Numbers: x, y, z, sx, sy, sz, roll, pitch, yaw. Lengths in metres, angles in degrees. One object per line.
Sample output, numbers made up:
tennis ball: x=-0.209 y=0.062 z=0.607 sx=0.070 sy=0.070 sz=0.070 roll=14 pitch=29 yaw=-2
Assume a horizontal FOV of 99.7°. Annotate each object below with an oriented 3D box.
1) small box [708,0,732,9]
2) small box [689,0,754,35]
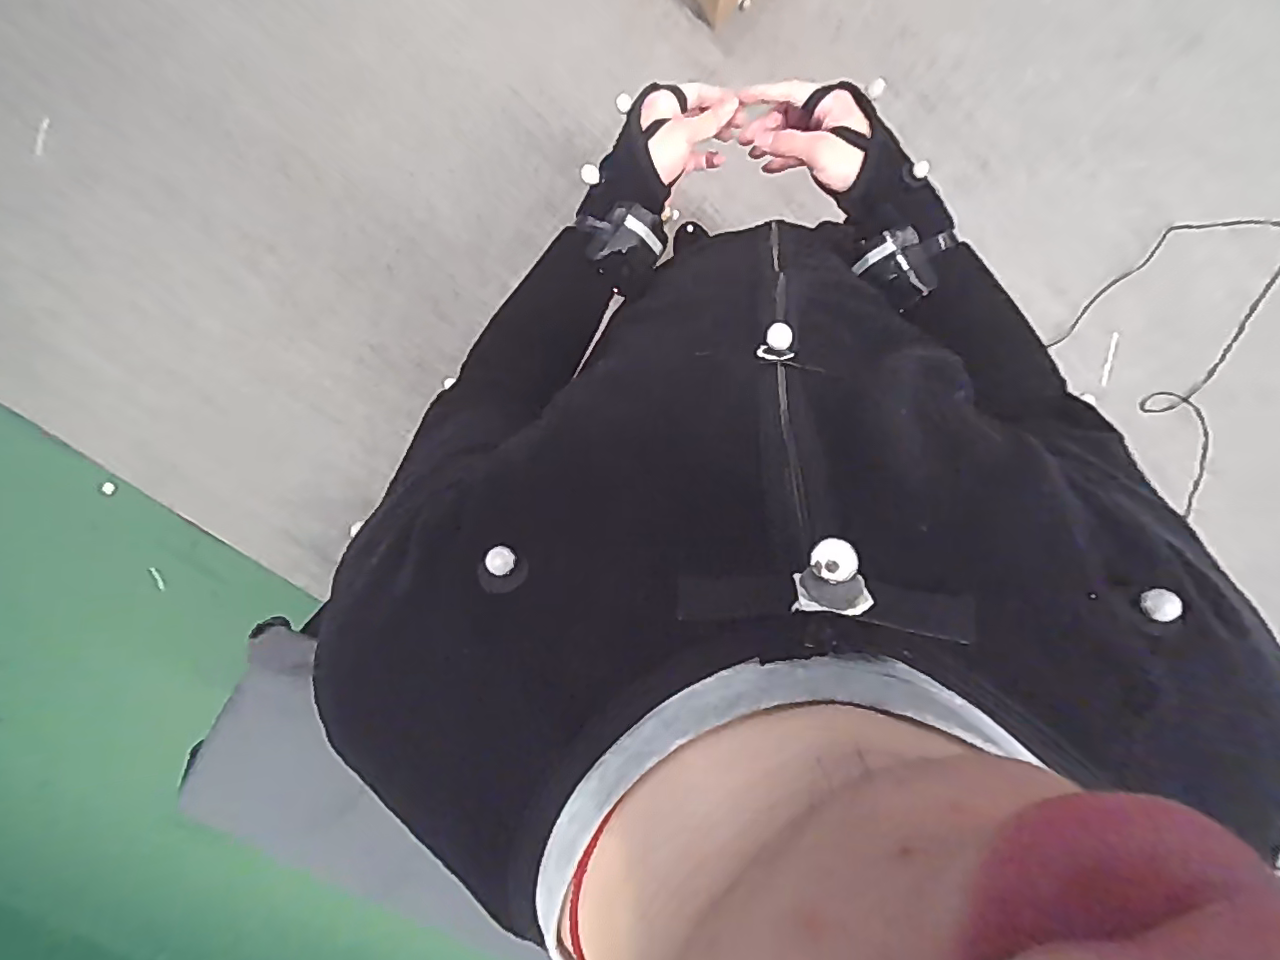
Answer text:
small box: x=0.153 y=-0.976 z=0.929 sx=0.168 sy=0.176 sz=0.179 roll=-34 pitch=109 yaw=20
small box: x=0.164 y=-1.047 z=1.077 sx=0.168 sy=0.176 sz=0.179 roll=-36 pitch=109 yaw=20
